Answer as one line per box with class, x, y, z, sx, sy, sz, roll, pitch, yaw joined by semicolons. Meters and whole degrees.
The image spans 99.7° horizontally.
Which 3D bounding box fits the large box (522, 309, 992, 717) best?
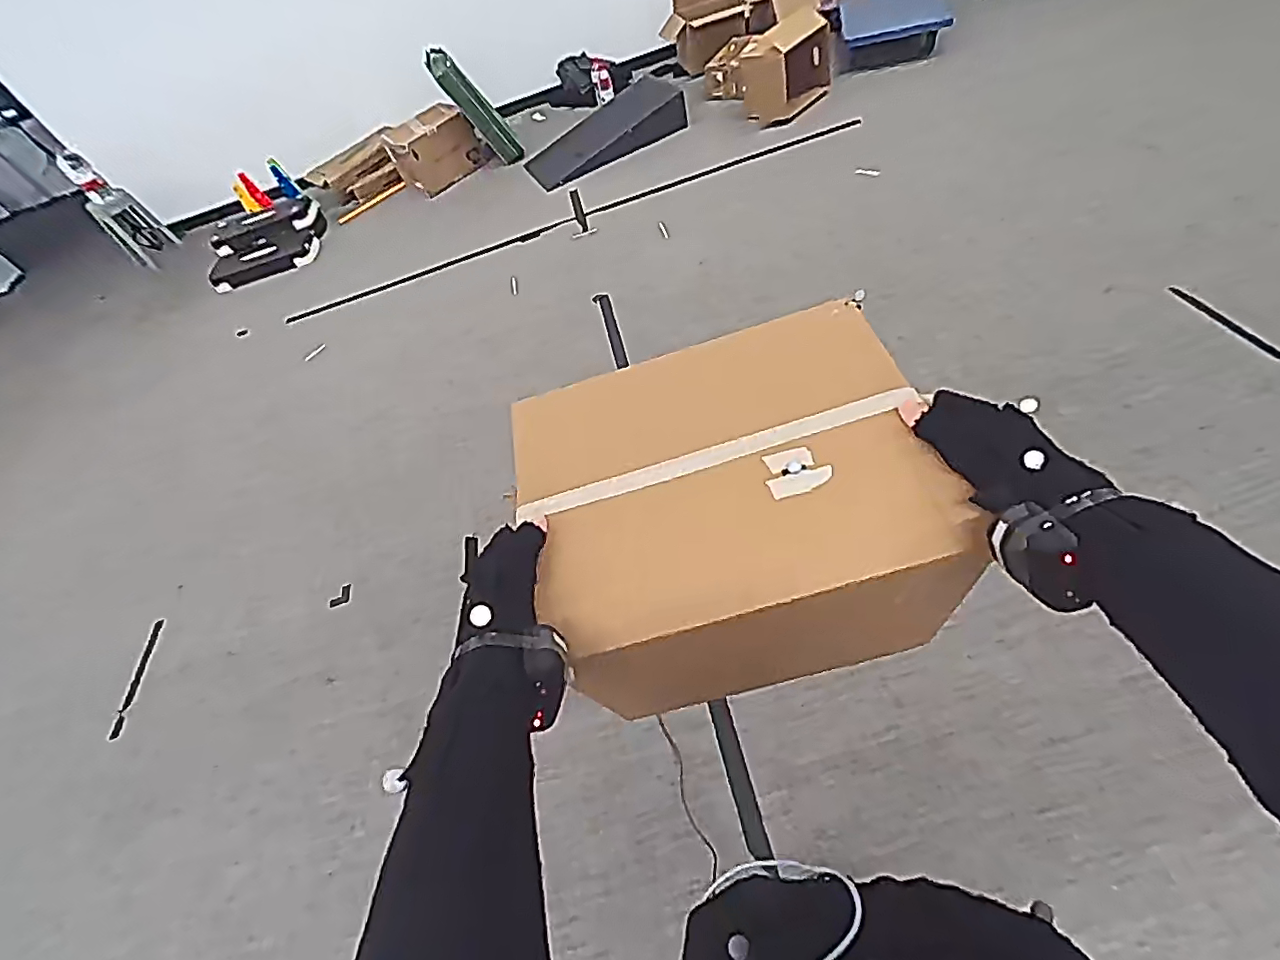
large box;0.109;0.061;0.669;0.408;0.320;0.320;-17;56;4
